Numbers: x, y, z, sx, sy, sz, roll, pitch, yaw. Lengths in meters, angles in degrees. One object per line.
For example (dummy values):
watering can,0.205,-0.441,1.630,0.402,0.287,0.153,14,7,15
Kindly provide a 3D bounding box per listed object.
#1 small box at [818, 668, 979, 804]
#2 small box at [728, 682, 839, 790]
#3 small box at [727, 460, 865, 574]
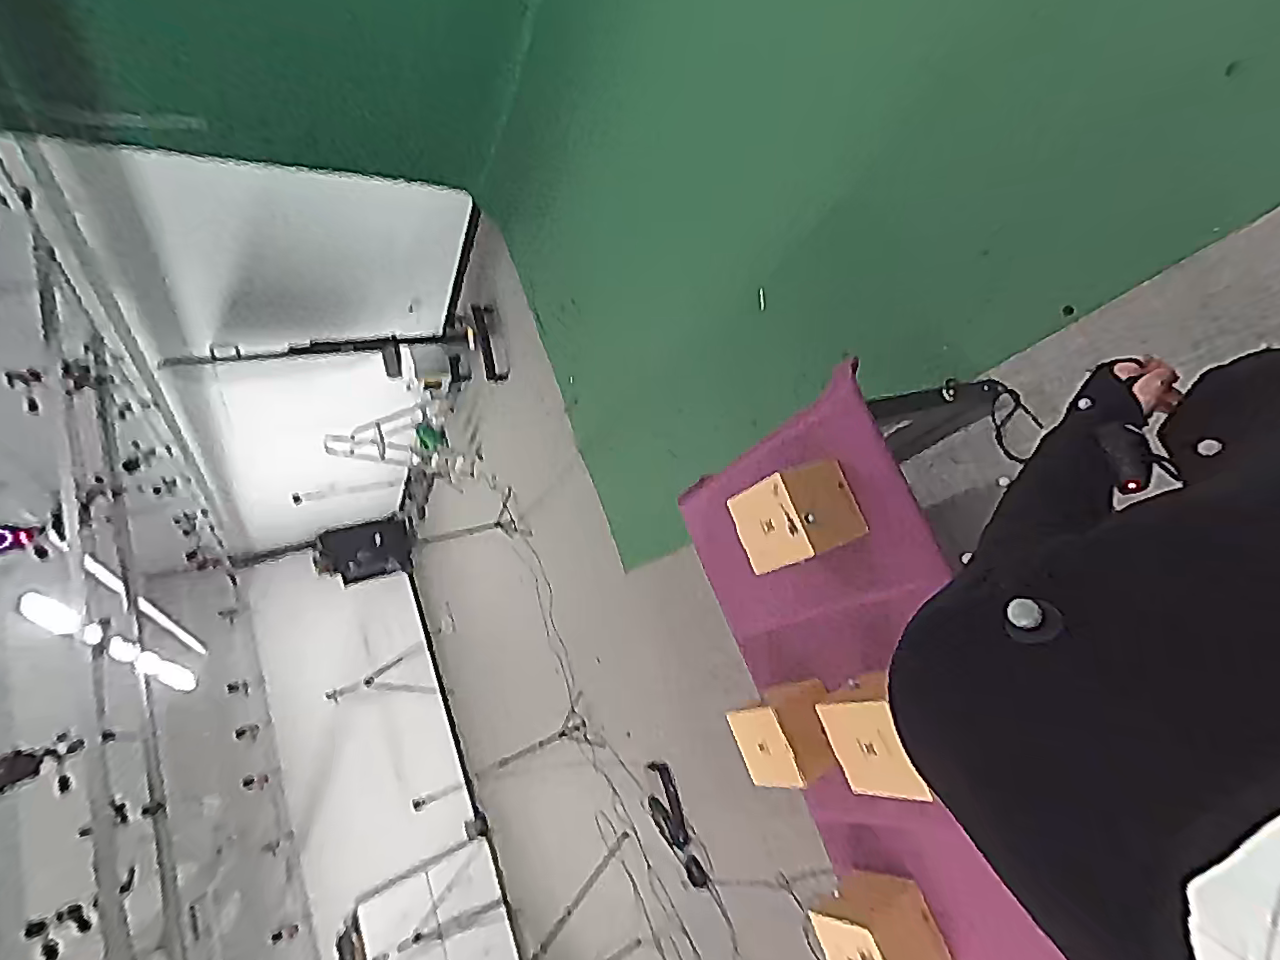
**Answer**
small box,0.473,0.462,0.996,0.179,0.176,0.168,-41,68,54
small box,0.340,0.581,1.234,0.179,0.176,0.168,-43,65,51
small box,0.314,0.076,1.095,0.179,0.176,0.168,-39,70,56
